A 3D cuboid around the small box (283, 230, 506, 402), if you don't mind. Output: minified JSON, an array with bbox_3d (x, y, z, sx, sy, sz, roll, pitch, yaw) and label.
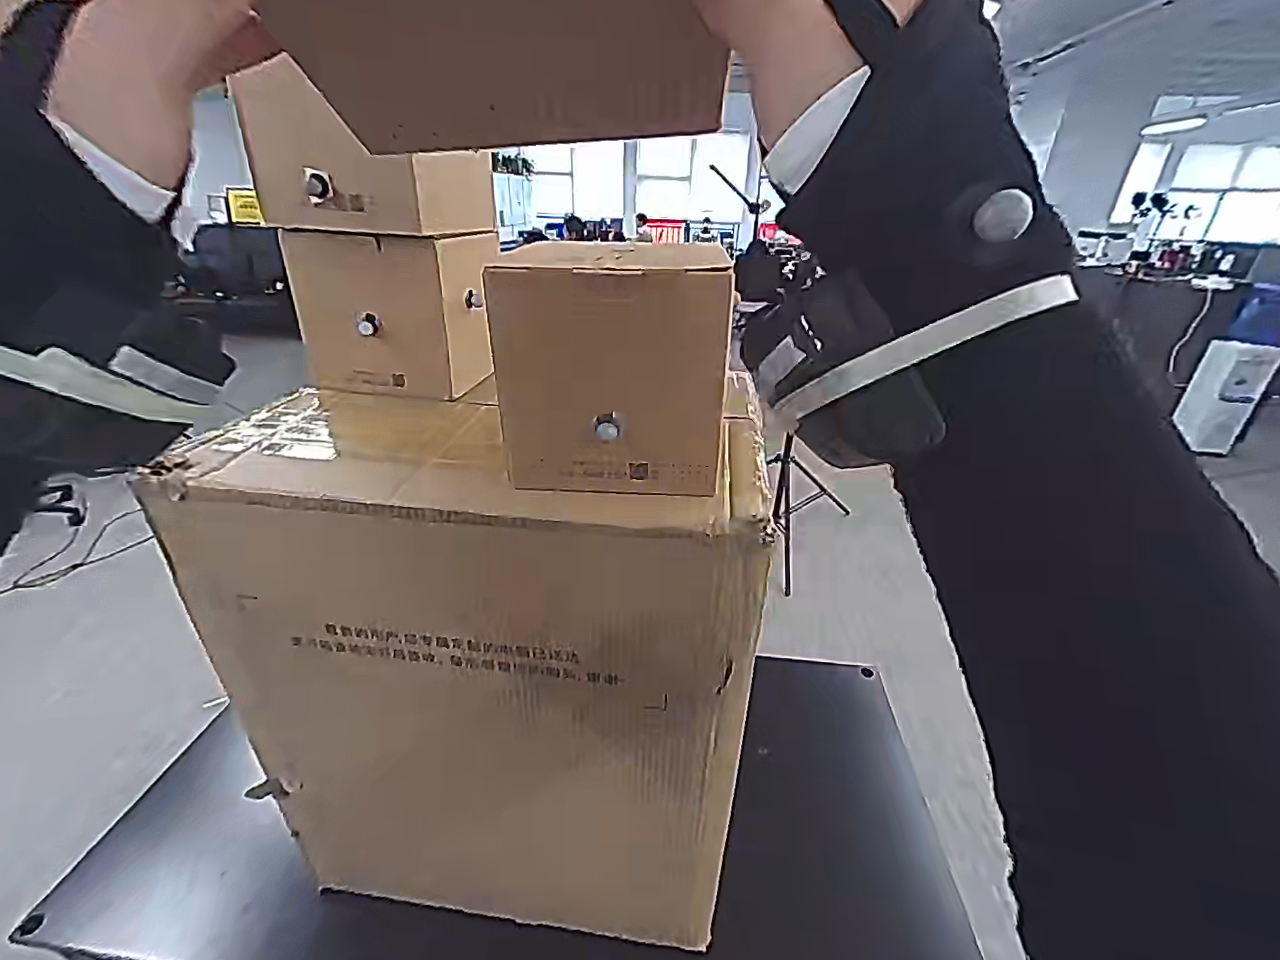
[{"bbox_3d":[-0.264,-0.199,0.634,0.168,0.176,0.179,6,28,5],"label":"small box"}]

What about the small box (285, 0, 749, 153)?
[{"bbox_3d":[-0.048,-0.249,0.194,0.179,0.168,0.176,-2,-6,2],"label":"small box"}]

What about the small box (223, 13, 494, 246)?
[{"bbox_3d":[-0.257,-0.337,0.545,0.168,0.176,0.179,5,28,7],"label":"small box"}]

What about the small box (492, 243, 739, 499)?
[{"bbox_3d":[-0.011,-0.101,0.459,0.168,0.176,0.179,2,29,4],"label":"small box"}]
